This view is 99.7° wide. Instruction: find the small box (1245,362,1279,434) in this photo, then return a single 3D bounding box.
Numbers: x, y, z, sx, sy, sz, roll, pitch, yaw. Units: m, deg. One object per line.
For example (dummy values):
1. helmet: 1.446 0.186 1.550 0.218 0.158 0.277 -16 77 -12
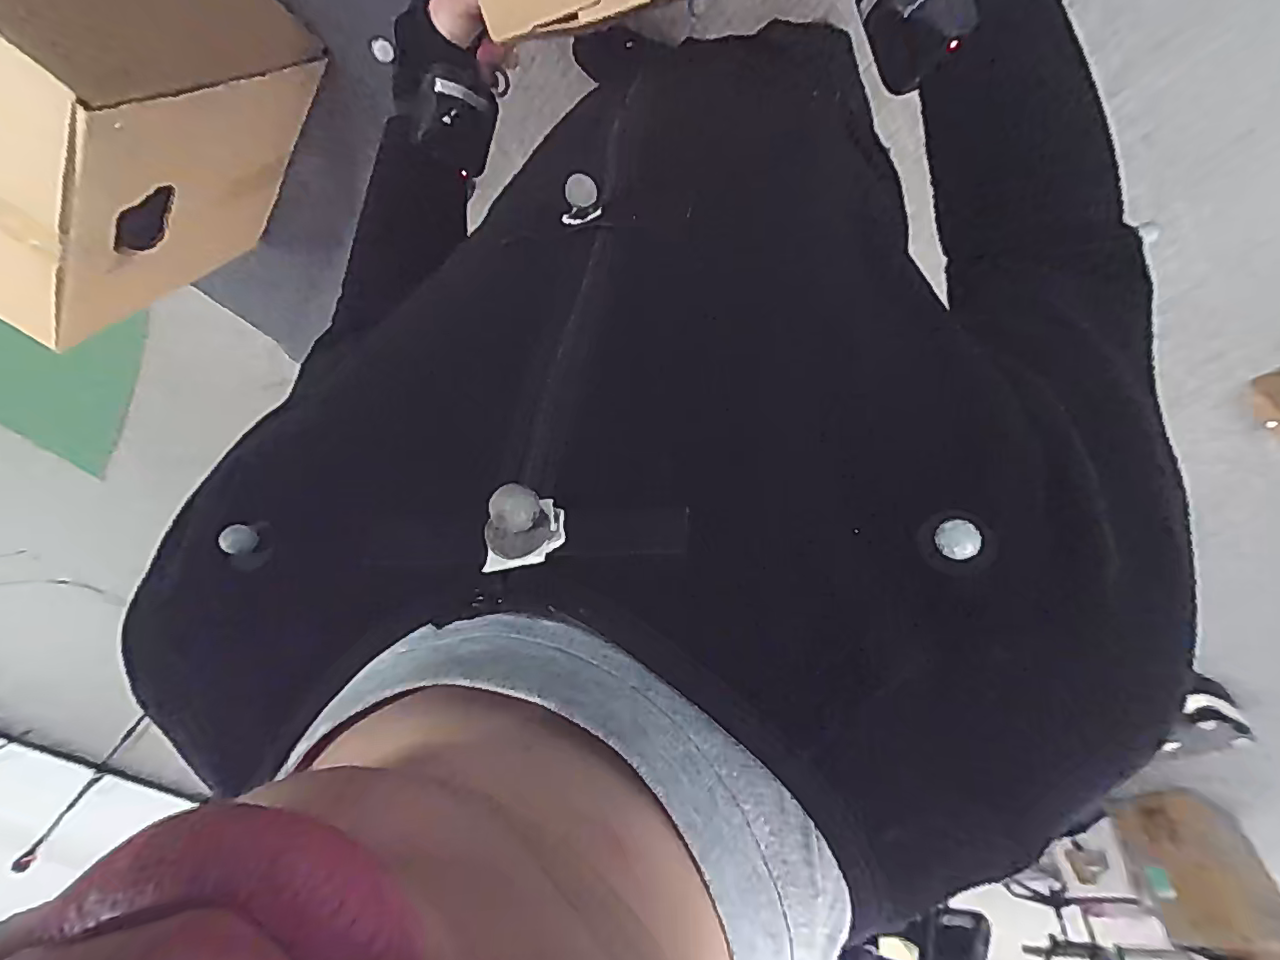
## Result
1. small box: 1.668 -0.204 1.336 0.179 0.176 0.168 40 129 -24
